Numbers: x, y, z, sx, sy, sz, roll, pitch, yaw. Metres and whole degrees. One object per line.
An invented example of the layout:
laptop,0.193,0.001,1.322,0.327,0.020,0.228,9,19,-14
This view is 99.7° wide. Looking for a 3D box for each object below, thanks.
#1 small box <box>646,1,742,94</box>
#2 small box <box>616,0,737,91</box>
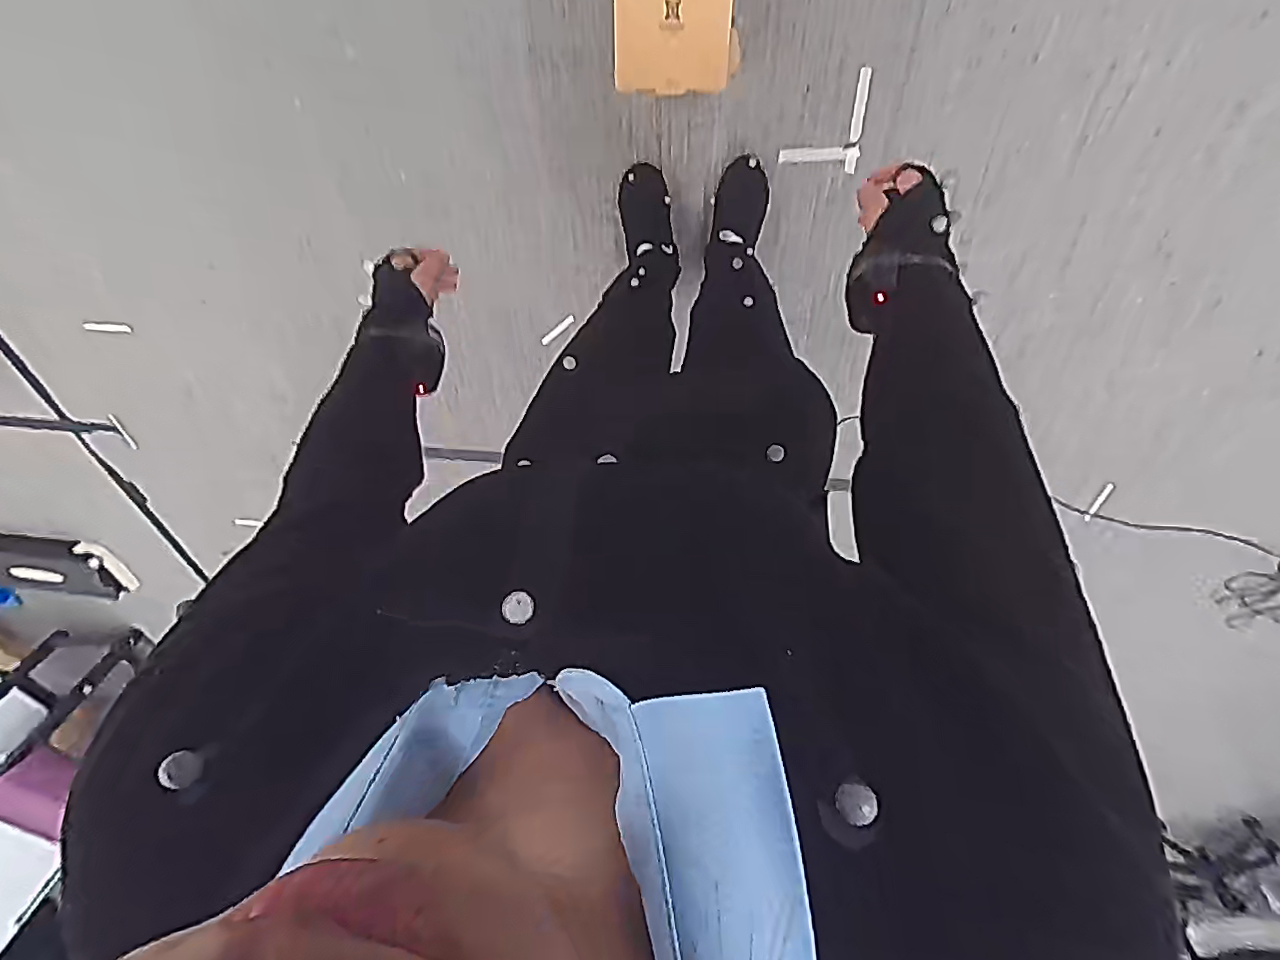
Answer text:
small box,0.082,-0.786,0.921,0.168,0.176,0.179,-5,129,14
small box,0.056,-0.687,0.794,0.168,0.176,0.179,4,131,5
